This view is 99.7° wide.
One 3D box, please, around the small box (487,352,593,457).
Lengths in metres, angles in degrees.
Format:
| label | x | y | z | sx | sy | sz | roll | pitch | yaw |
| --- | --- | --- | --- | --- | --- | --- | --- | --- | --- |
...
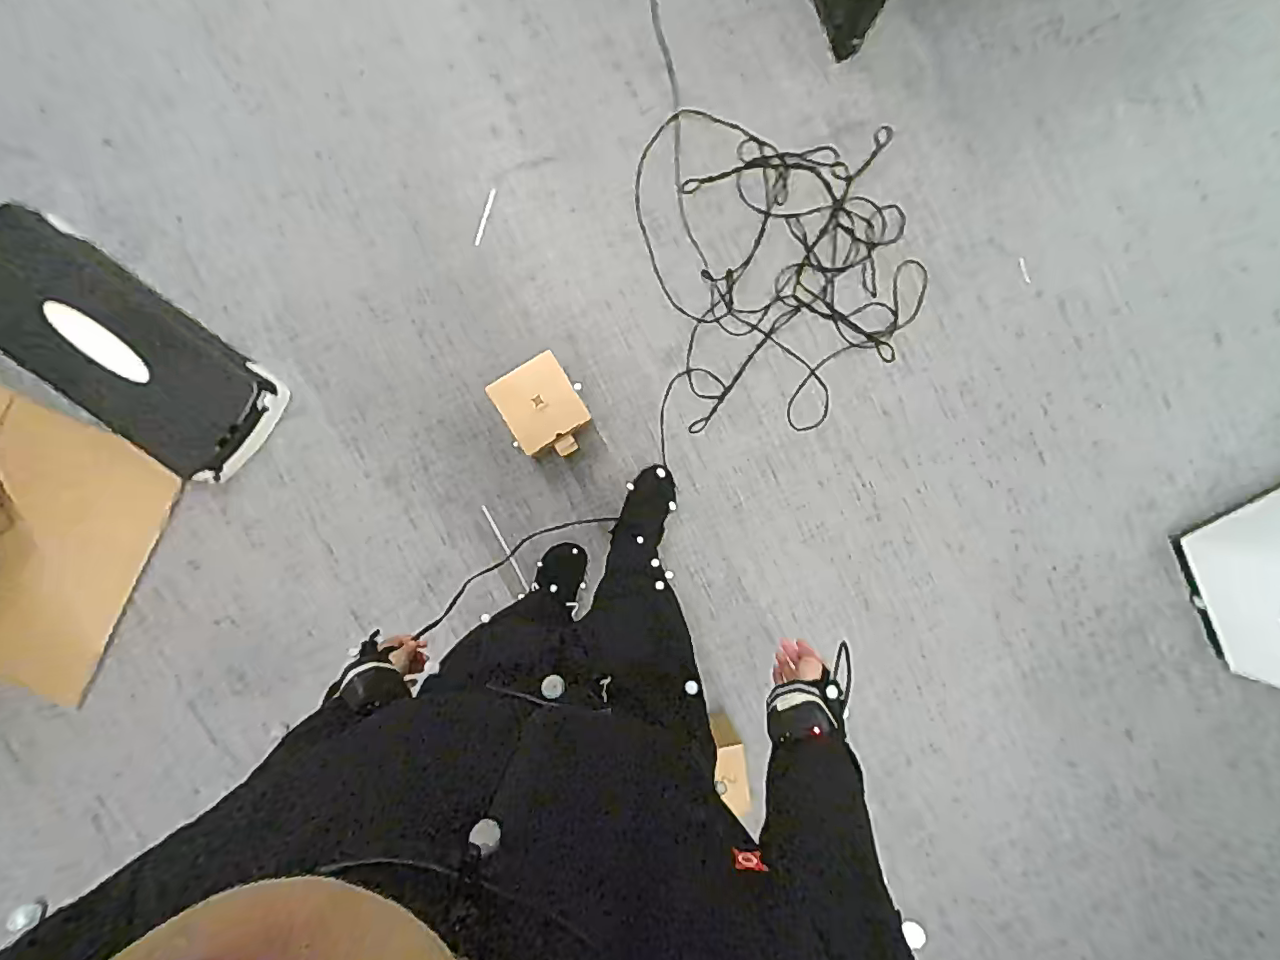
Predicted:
| label | x | y | z | sx | sy | sz | roll | pitch | yaw |
| --- | --- | --- | --- | --- | --- | --- | --- | --- | --- |
| small box | -0.224 | -0.163 | 1.238 | 0.168 | 0.176 | 0.179 | -32 | 95 | -4 |
